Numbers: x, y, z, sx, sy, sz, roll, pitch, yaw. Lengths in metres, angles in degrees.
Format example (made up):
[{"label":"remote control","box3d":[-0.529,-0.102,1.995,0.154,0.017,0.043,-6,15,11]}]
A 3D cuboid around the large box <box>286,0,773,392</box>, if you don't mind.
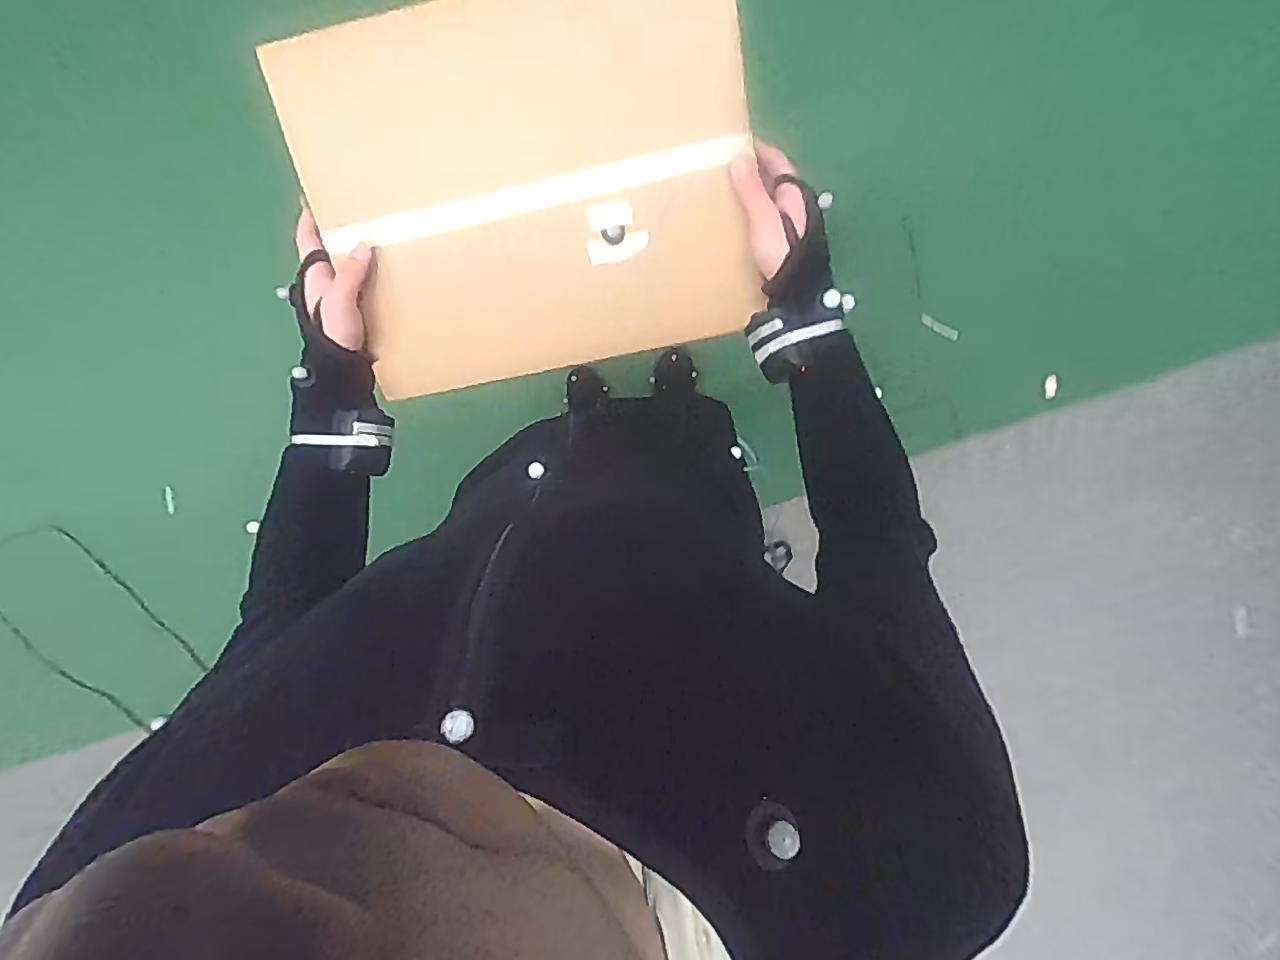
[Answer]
[{"label":"large box","box3d":[-0.091,-0.318,0.647,0.408,0.320,0.320,-10,110,3]}]
